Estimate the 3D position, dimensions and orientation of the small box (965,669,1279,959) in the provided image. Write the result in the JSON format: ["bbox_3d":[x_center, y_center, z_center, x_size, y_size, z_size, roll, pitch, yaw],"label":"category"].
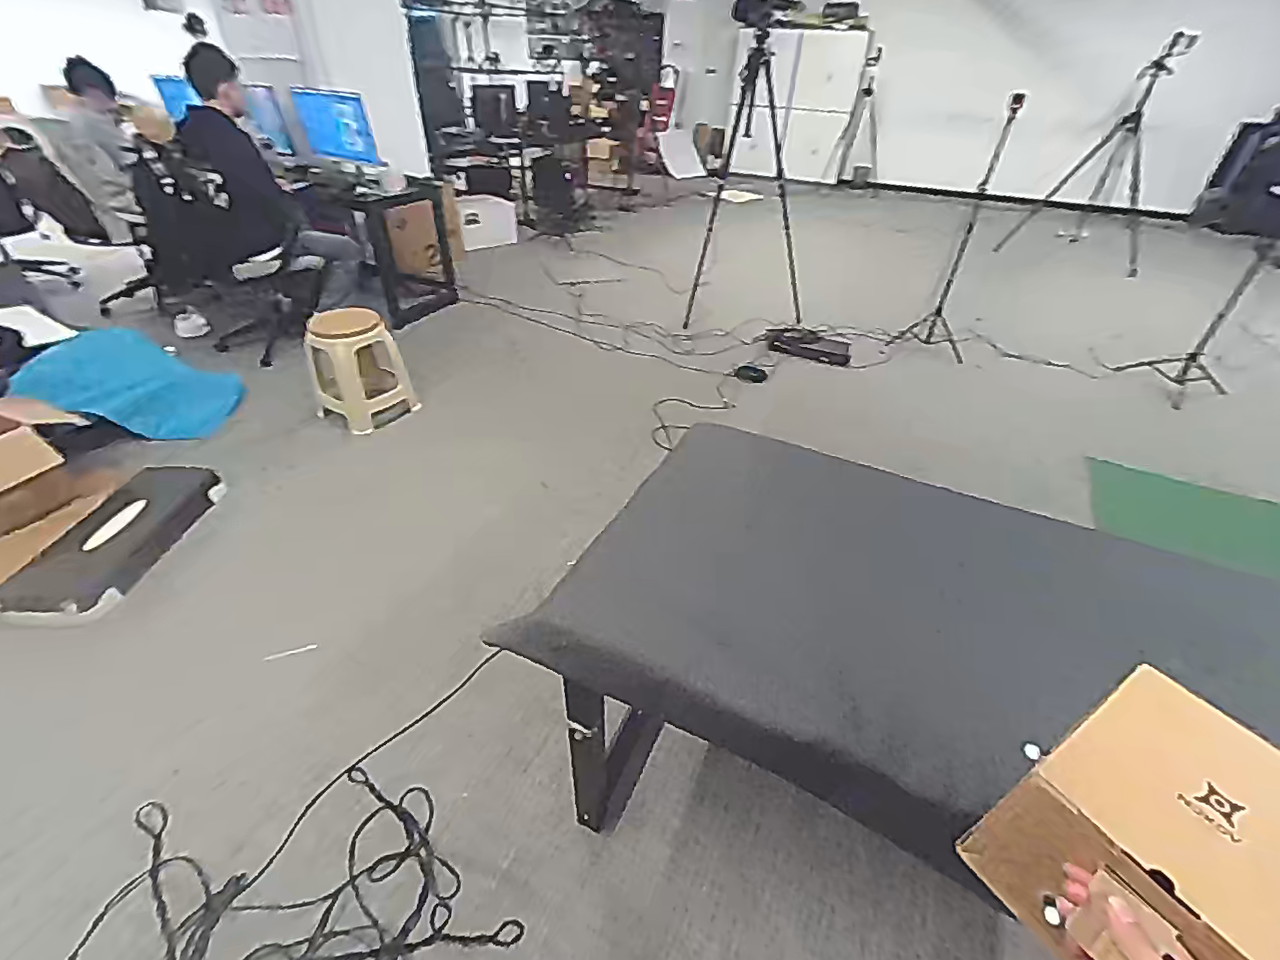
[{"bbox_3d":[0.409,0.298,0.440,0.179,0.176,0.168,-21,44,-26],"label":"small box"}]
